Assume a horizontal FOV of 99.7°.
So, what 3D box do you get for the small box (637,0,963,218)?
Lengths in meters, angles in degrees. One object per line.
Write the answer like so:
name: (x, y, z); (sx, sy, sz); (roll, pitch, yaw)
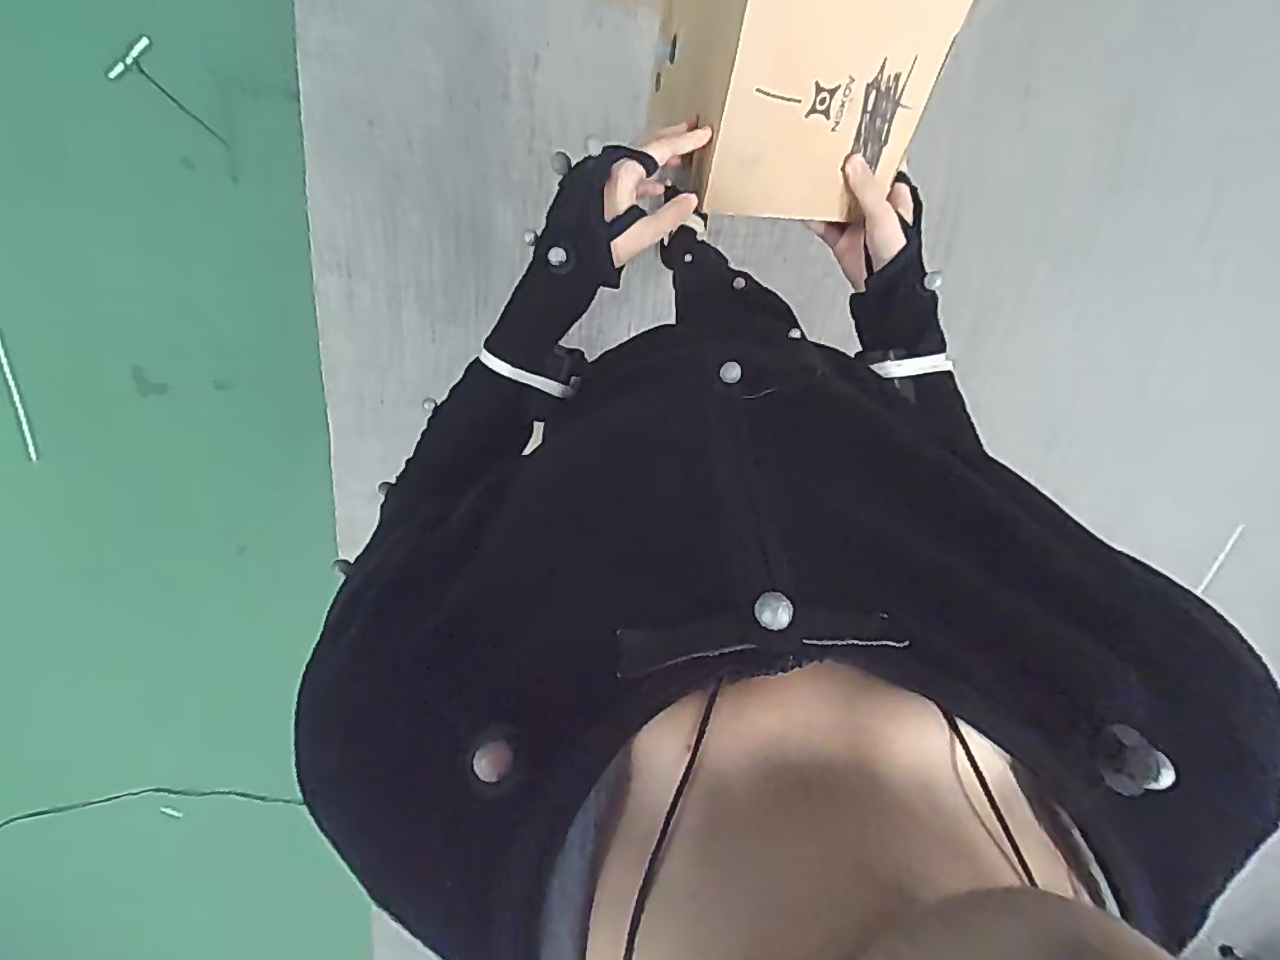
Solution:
small box: (0.113, -0.341, 0.454); (0.179, 0.176, 0.168); (-4, 136, -18)
